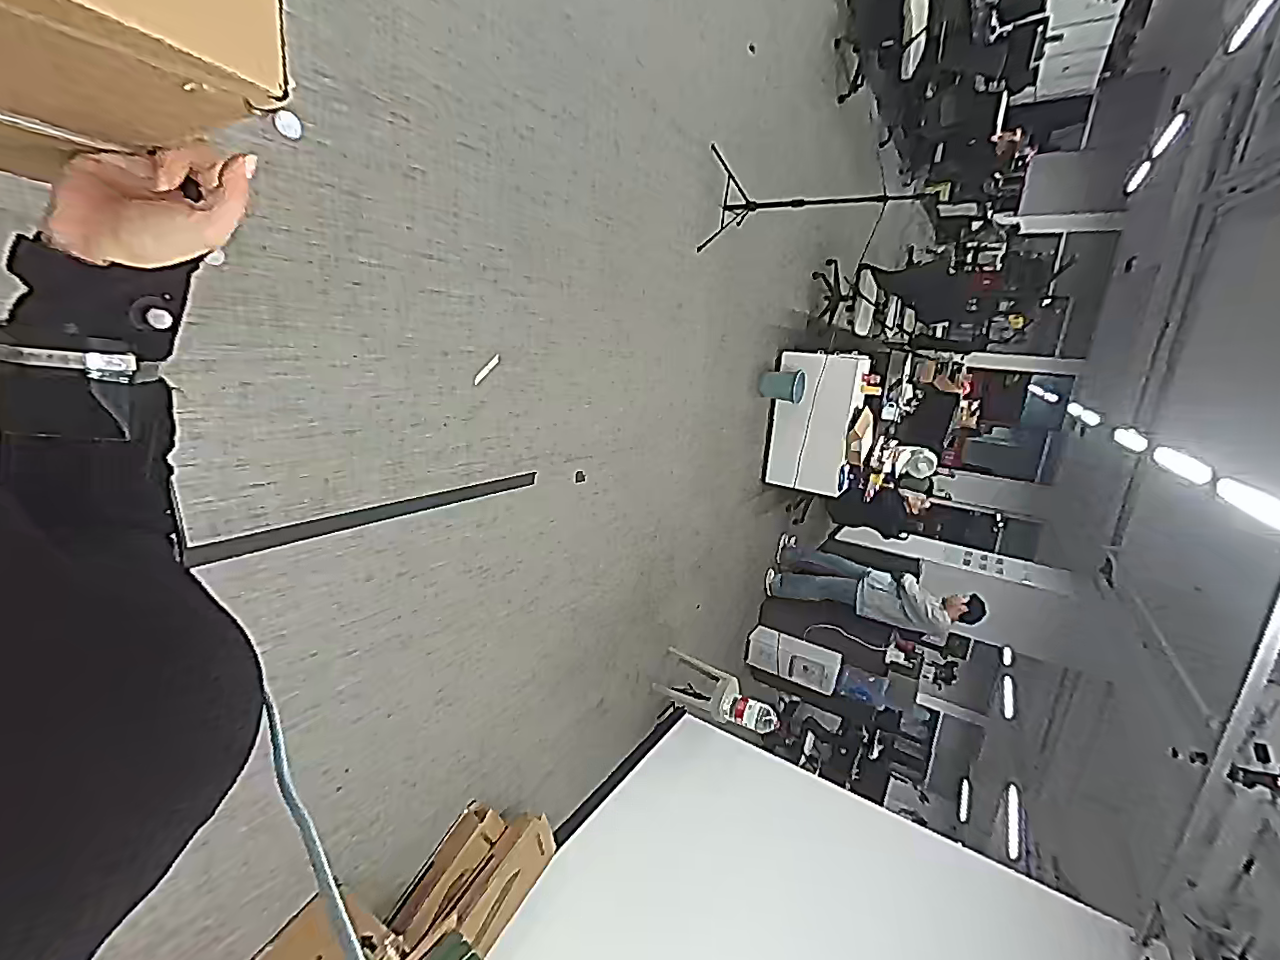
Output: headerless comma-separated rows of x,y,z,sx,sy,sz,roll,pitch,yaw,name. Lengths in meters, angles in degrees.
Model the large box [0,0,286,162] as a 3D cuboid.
-0.382,-0.329,0.120,0.408,0.320,0.320,-16,113,-60,large box
